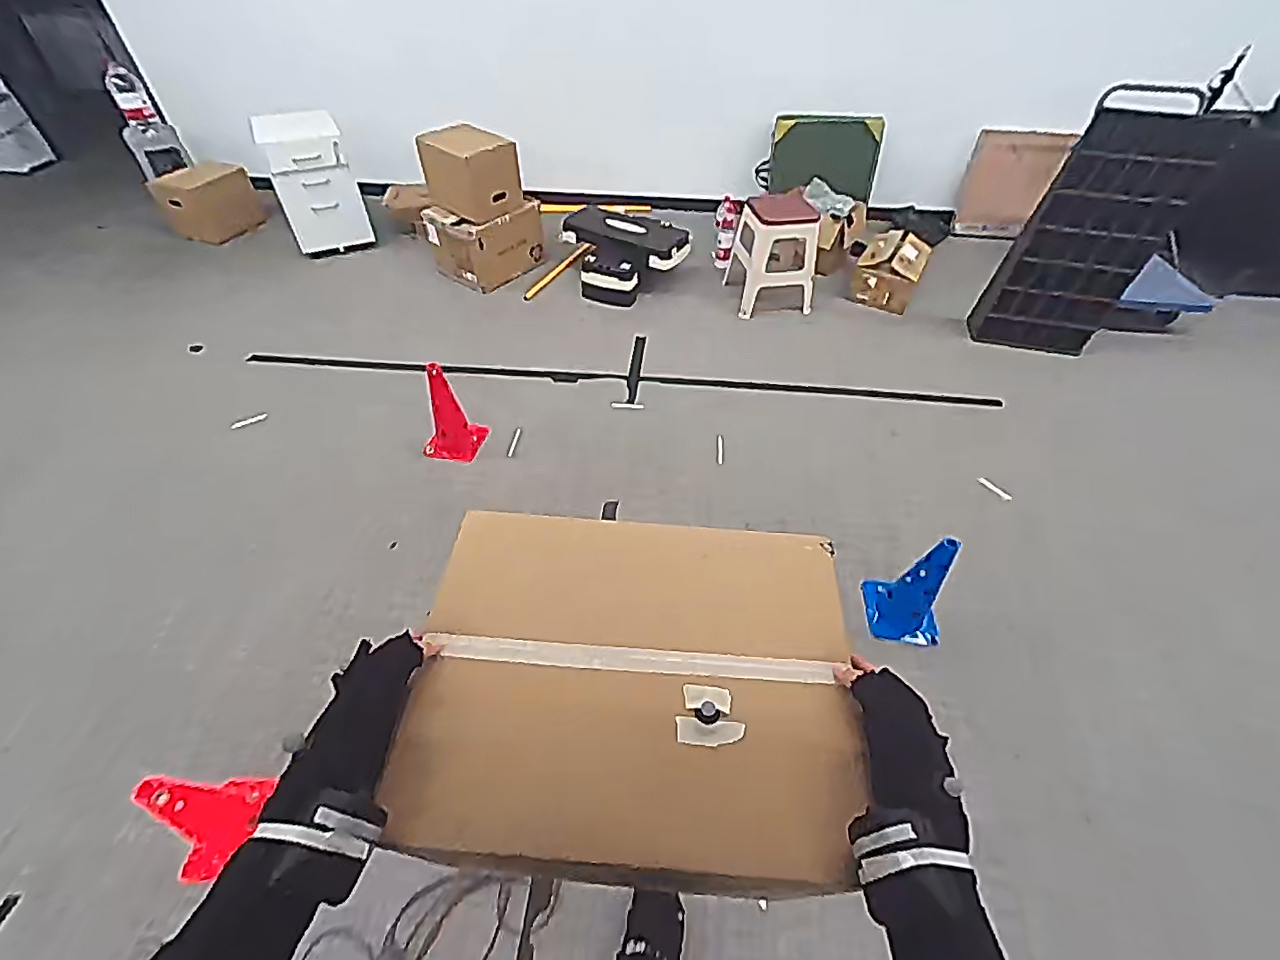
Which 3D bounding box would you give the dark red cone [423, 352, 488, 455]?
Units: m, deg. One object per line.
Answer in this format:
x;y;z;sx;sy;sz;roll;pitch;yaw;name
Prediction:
-0.701;-0.287;1.962;0.201;0.394;0.202;10;48;6;dark red cone

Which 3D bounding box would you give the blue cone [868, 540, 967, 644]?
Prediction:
0.802;0.293;1.523;0.192;0.380;0.193;8;48;4;blue cone

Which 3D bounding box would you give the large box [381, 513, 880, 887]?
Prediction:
-0.007;0.261;0.630;0.408;0.320;0.320;5;51;1;large box

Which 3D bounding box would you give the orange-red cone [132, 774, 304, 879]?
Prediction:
-0.896;0.673;1.106;0.198;0.360;0.199;2;49;2;orange-red cone
